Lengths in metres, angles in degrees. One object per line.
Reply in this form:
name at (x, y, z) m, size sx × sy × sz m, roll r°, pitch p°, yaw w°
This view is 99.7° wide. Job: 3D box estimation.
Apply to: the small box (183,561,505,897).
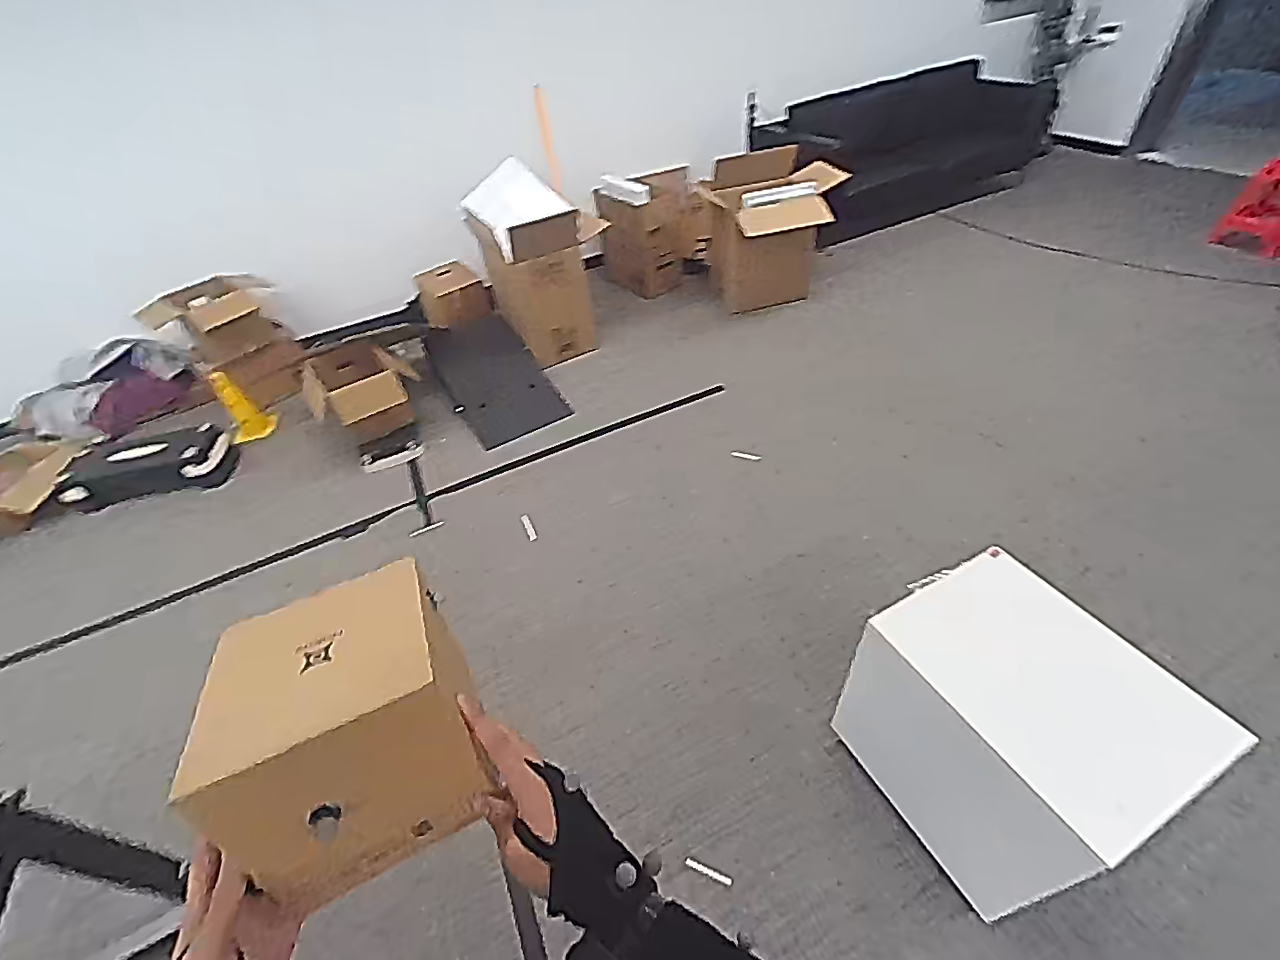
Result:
small box at (-0.230, 0.207, 0.462) m, size 0.168 × 0.176 × 0.179 m, roll -22°, pitch 31°, yaw -17°
